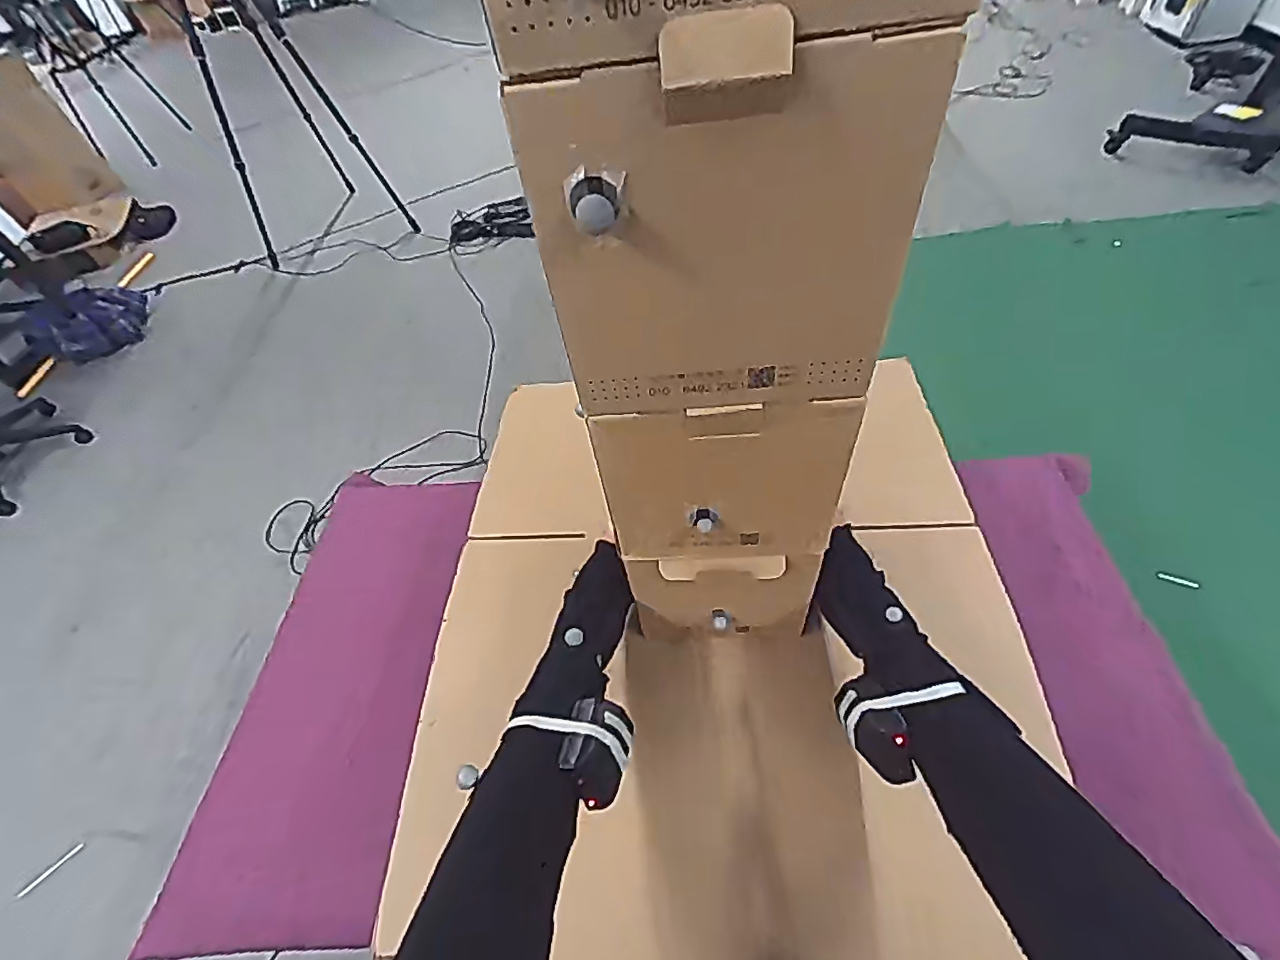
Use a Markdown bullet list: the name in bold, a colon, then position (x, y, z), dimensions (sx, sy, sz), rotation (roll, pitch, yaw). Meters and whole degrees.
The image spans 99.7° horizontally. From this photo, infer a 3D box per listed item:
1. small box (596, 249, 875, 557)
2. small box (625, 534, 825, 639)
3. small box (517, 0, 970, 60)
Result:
- **small box**: position (0.063, -0.057, 0.429), dimensions (0.168, 0.176, 0.179), rotation (-3, 51, 5)
- **small box**: position (0.080, 0.045, 0.555), dimensions (0.168, 0.176, 0.179), rotation (-2, 51, 7)
- **small box**: position (0.027, -0.264, 0.177), dimensions (0.168, 0.176, 0.179), rotation (-6, 52, 3)
